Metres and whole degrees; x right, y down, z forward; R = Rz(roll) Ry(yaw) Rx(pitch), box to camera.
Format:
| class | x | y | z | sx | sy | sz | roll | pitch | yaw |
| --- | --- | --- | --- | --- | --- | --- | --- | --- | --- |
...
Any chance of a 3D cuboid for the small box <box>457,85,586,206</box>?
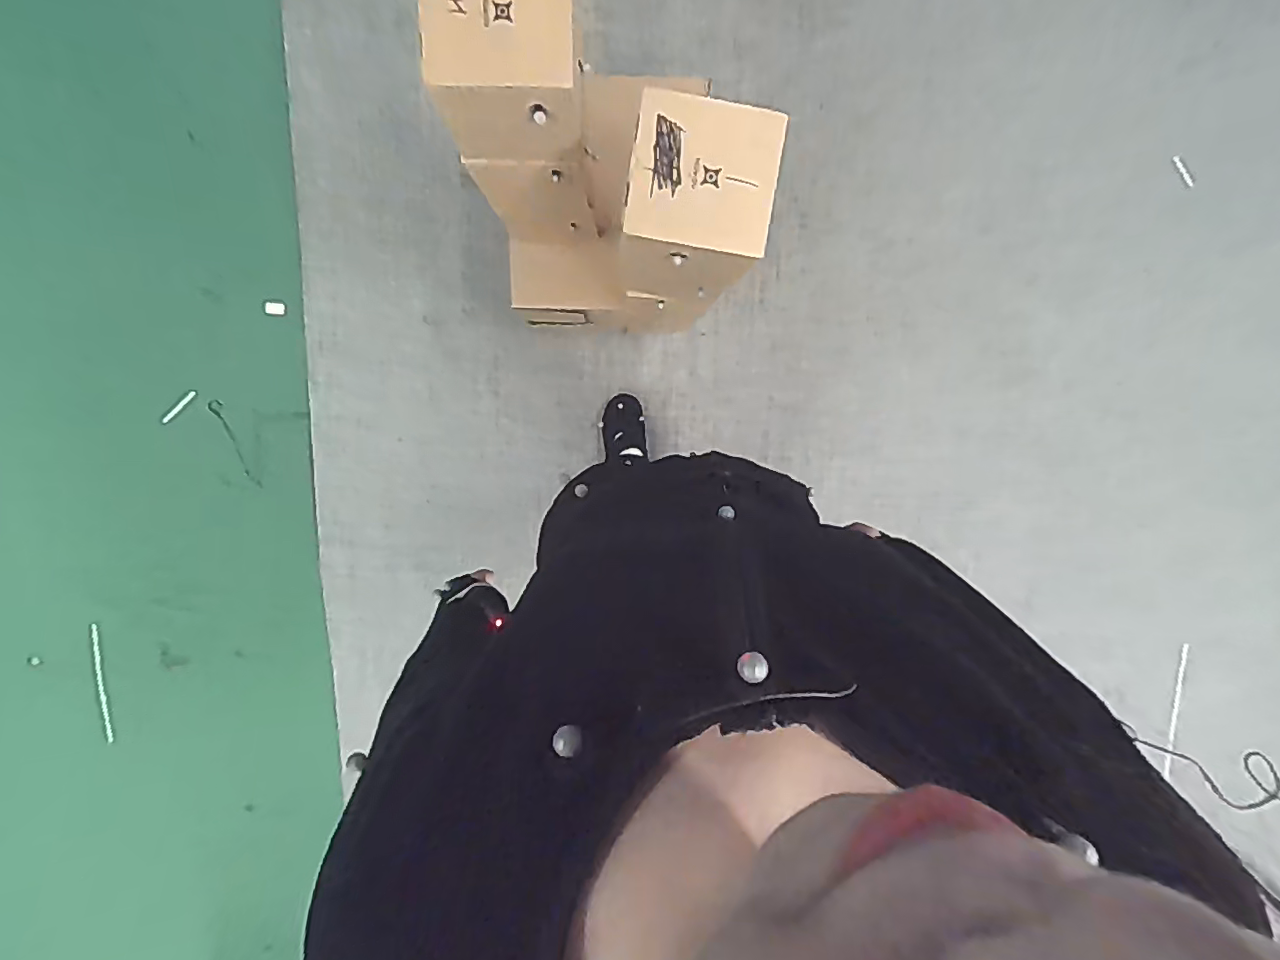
| class | x | y | z | sx | sy | sz | roll | pitch | yaw |
| --- | --- | --- | --- | --- | --- | --- | --- | --- | --- |
| small box | -0.179 | -0.551 | 0.857 | 0.179 | 0.176 | 0.168 | -1 | 95 | -2 |

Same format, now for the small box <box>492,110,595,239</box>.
| class | x | y | z | sx | sy | sz | roll | pitch | yaw |
| --- | --- | --- | --- | --- | --- | --- | --- | --- | --- |
| small box | -0.176 | -0.566 | 1.019 | 0.179 | 0.176 | 0.168 | -2 | 95 | 0 |

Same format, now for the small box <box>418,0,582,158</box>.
| class | x | y | z | sx | sy | sz | roll | pitch | yaw |
| --- | --- | --- | --- | --- | --- | --- | --- | --- | --- |
| small box | -0.167 | -0.539 | 0.693 | 0.179 | 0.176 | 0.168 | 1 | 95 | -1 |

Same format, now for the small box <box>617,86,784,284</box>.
| class | x | y | z | sx | sy | sz | roll | pitch | yaw |
| --- | --- | --- | --- | --- | --- | --- | --- | --- | --- |
| small box | 0.067 | -0.370 | 0.714 | 0.179 | 0.176 | 0.168 | 9 | 97 | -4 |

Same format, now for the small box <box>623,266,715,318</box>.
| class | x | y | z | sx | sy | sz | roll | pitch | yaw |
| --- | --- | --- | --- | --- | --- | --- | --- | --- | --- |
| small box | 0.056 | -0.422 | 1.039 | 0.168 | 0.176 | 0.179 | 4 | 97 | -2 |
